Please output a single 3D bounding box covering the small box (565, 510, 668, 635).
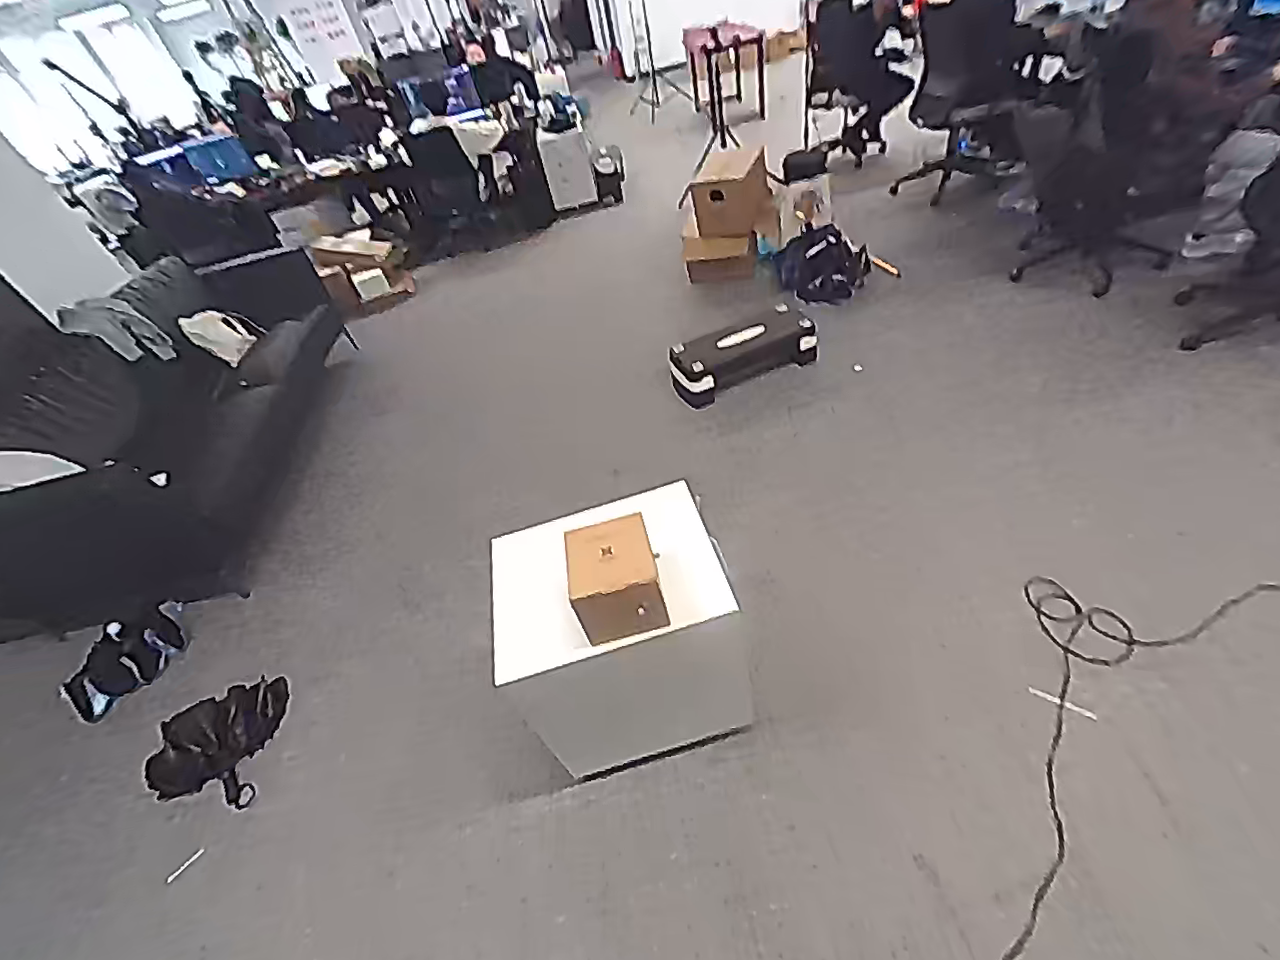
[{"bbox_3d":[-0.047,0.193,1.093,0.168,0.176,0.179,-14,41,0],"label":"small box"}]
